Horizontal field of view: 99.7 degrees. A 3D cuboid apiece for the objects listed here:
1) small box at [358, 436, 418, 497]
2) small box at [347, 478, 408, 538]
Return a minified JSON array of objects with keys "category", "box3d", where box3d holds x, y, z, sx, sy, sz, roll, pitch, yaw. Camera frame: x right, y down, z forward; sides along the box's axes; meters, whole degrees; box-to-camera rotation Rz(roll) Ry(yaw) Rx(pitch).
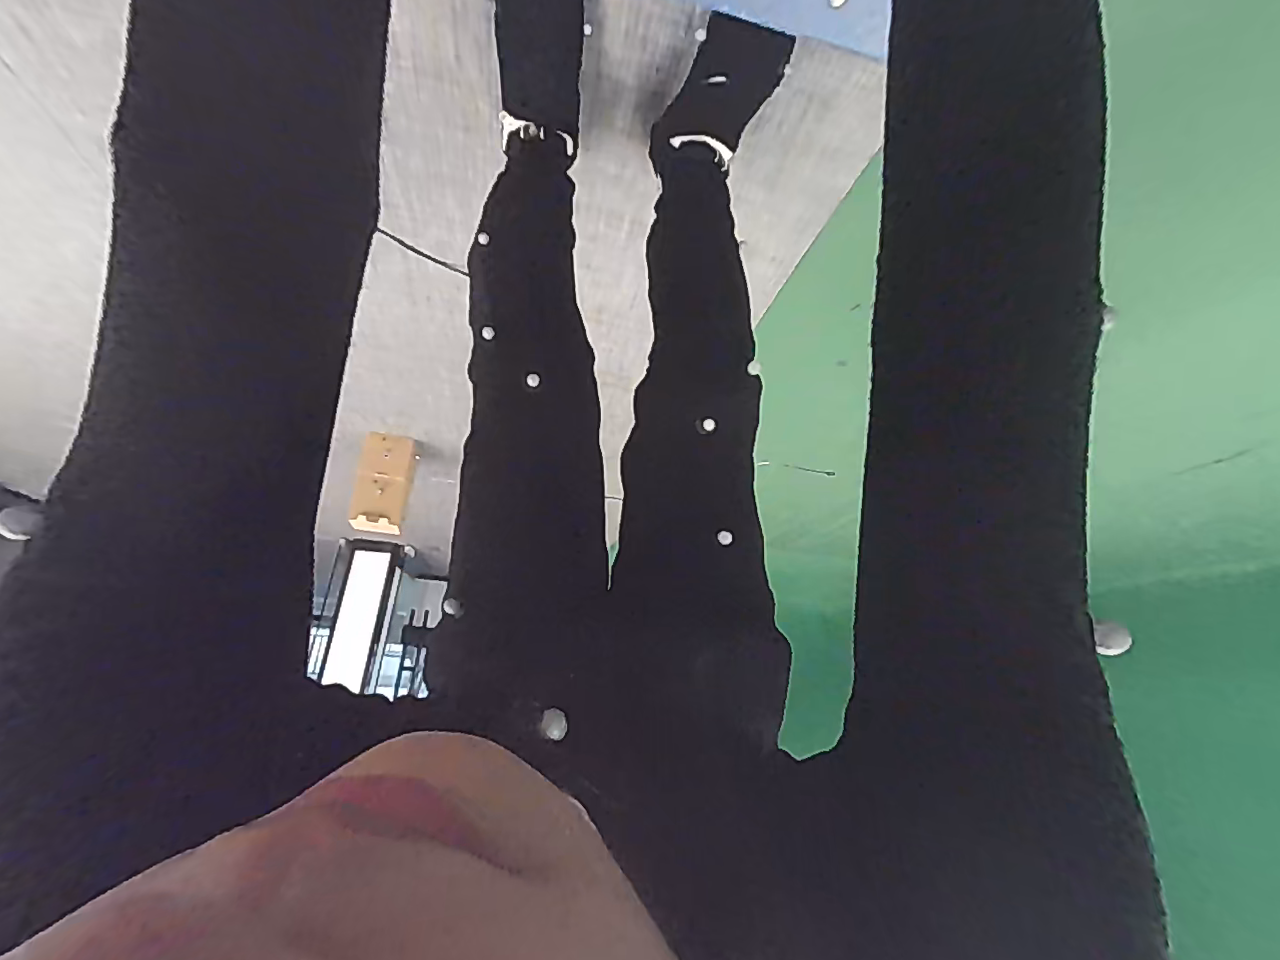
[{"category":"small box","box3d":[-0.958,-0.051,2.065,0.168,0.176,0.179,9,157,-13]},{"category":"small box","box3d":[-0.971,0.105,2.014,0.168,0.176,0.179,10,158,-17]}]
